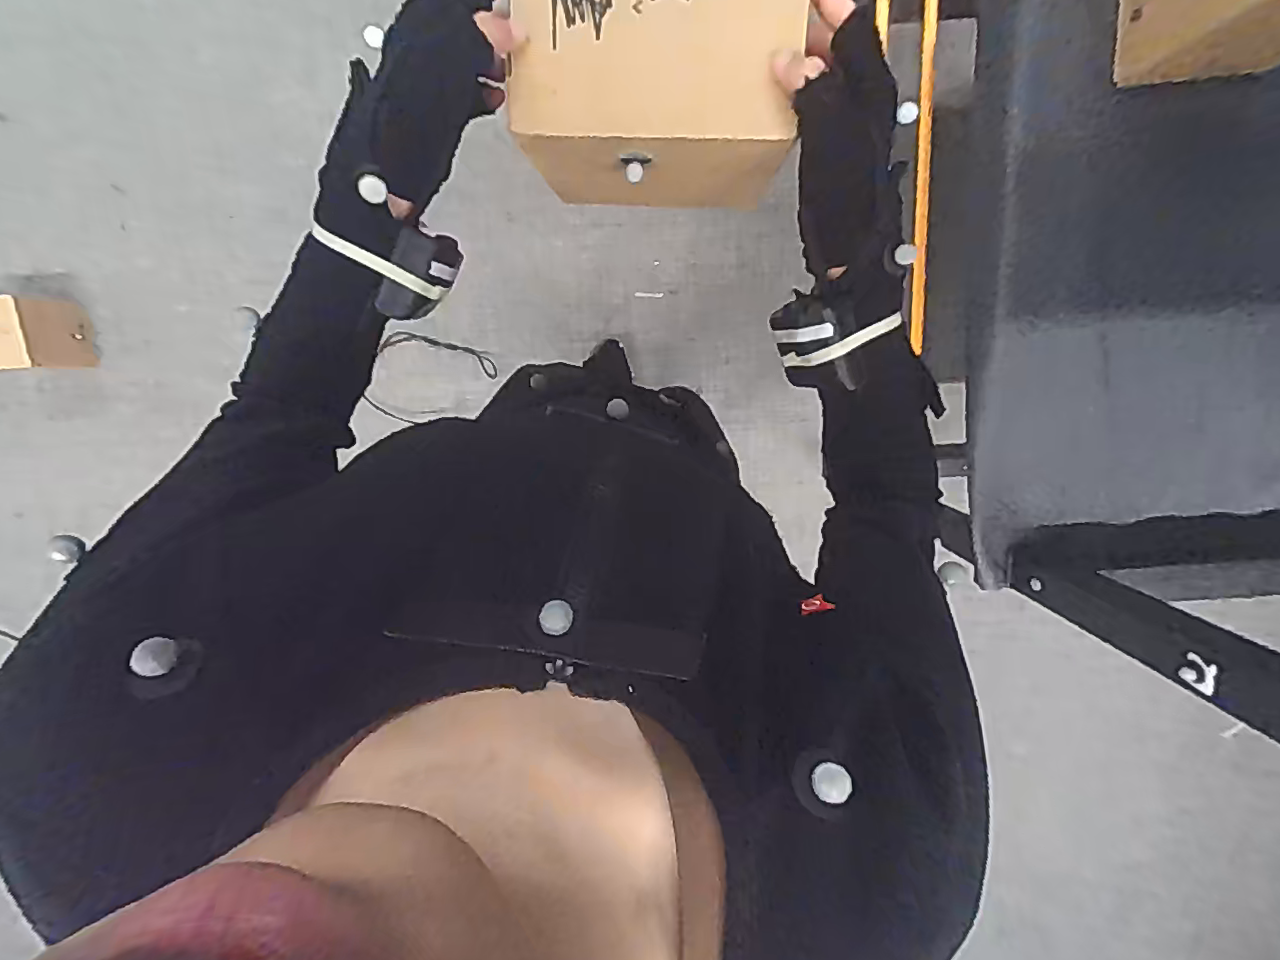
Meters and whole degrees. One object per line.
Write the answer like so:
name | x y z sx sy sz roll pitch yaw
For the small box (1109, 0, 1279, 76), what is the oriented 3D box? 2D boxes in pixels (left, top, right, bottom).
small box | 0.636 -0.546 0.545 0.179 0.176 0.168 -5 101 1
